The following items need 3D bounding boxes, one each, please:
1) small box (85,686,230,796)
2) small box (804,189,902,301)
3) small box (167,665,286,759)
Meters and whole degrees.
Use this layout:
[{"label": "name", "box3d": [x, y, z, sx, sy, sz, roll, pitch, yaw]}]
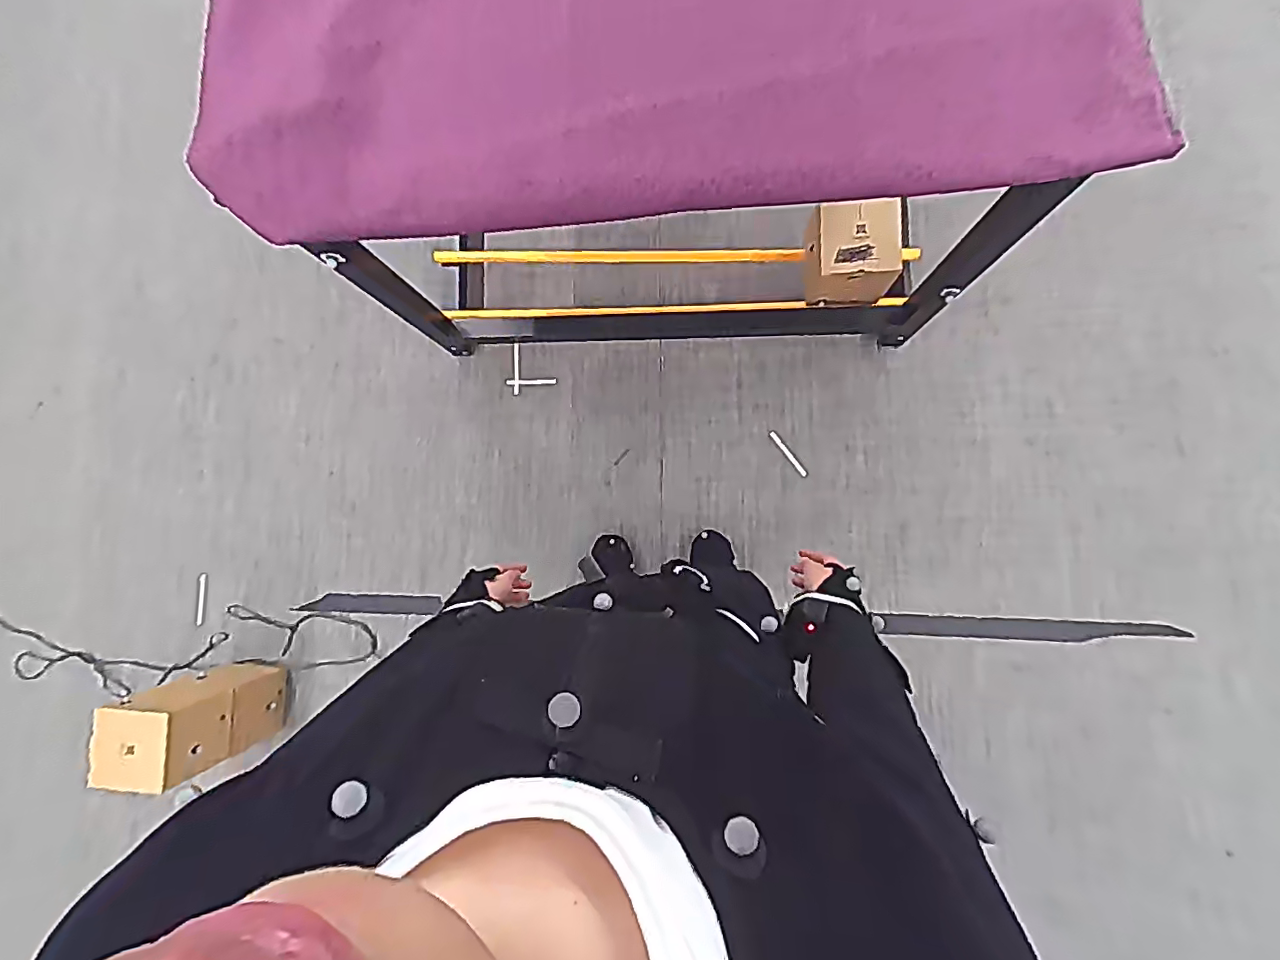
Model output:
[{"label": "small box", "box3d": [-1.047, 0.563, 1.188, 0.179, 0.176, 0.168, 1, 87, 6]}, {"label": "small box", "box3d": [0.463, -0.507, 1.192, 0.168, 0.176, 0.179, 0, 85, 6]}, {"label": "small box", "box3d": [-1.032, 0.570, 1.349, 0.179, 0.176, 0.168, 2, 88, 5]}]
